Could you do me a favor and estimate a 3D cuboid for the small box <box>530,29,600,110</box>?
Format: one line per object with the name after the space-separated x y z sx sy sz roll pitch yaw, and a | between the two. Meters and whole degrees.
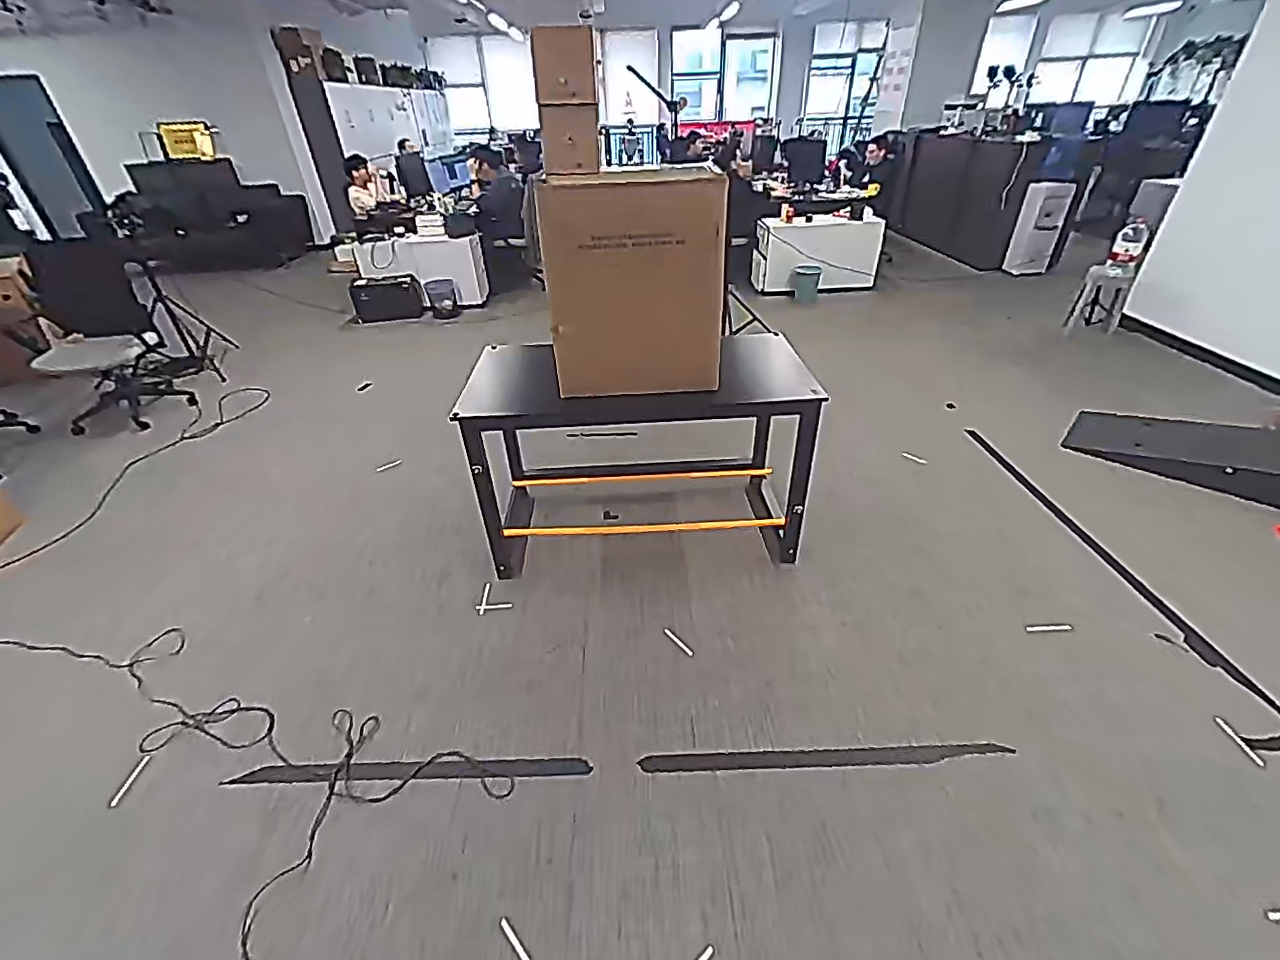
-0.198 -1.119 1.483 0.168 0.176 0.179 -2 34 0 | small box

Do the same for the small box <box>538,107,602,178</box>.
-0.198 -0.992 1.589 0.168 0.176 0.179 -2 34 -1 | small box
